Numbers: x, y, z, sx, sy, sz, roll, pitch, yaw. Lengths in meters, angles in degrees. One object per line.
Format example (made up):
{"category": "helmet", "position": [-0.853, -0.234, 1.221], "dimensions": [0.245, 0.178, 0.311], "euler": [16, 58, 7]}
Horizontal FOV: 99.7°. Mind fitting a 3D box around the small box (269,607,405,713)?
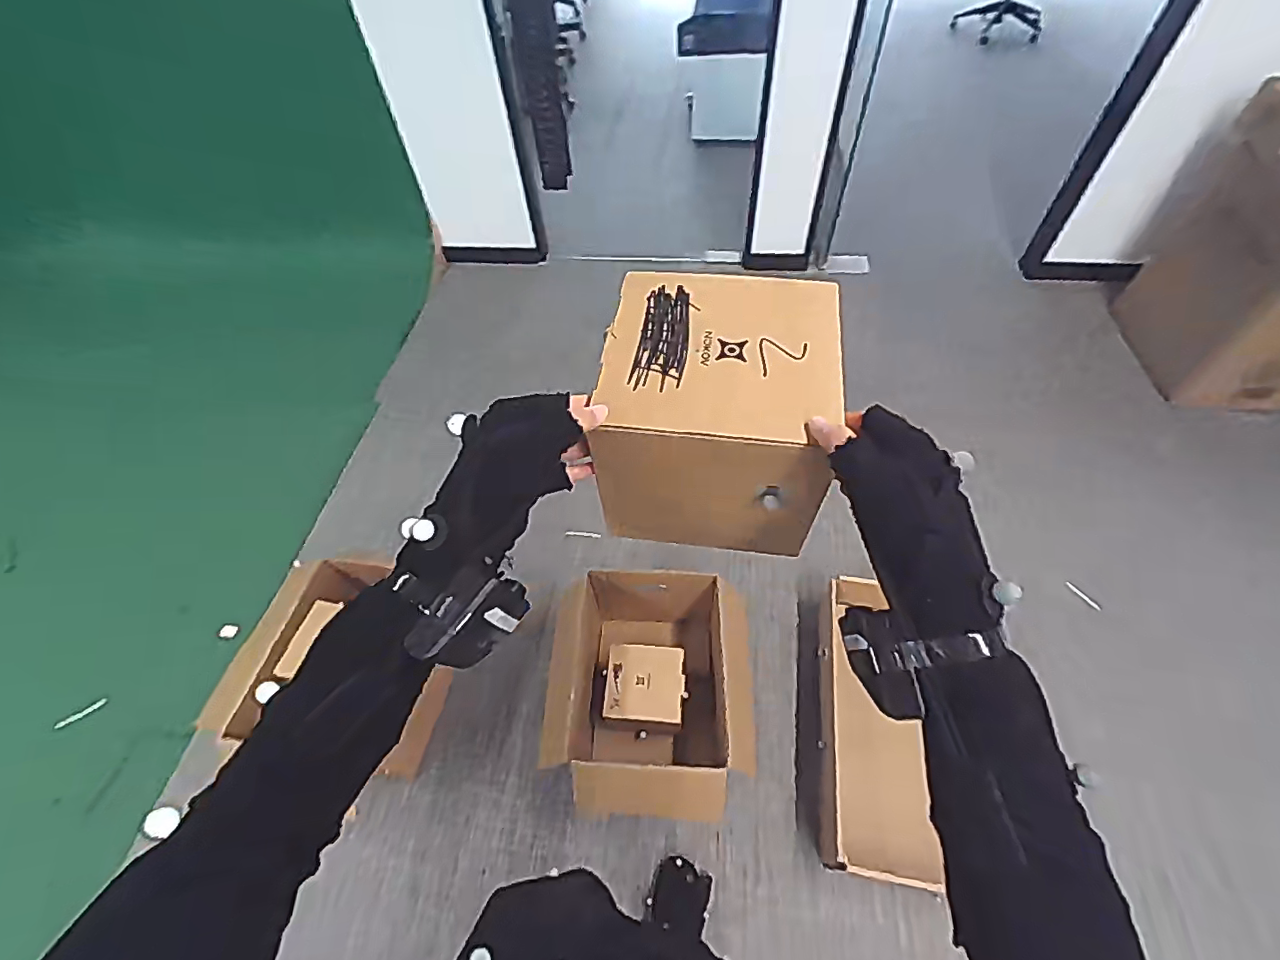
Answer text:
{"category": "small box", "position": [-0.661, 0.407, 1.208], "dimensions": [0.179, 0.176, 0.168], "euler": [9, 54, 8]}
